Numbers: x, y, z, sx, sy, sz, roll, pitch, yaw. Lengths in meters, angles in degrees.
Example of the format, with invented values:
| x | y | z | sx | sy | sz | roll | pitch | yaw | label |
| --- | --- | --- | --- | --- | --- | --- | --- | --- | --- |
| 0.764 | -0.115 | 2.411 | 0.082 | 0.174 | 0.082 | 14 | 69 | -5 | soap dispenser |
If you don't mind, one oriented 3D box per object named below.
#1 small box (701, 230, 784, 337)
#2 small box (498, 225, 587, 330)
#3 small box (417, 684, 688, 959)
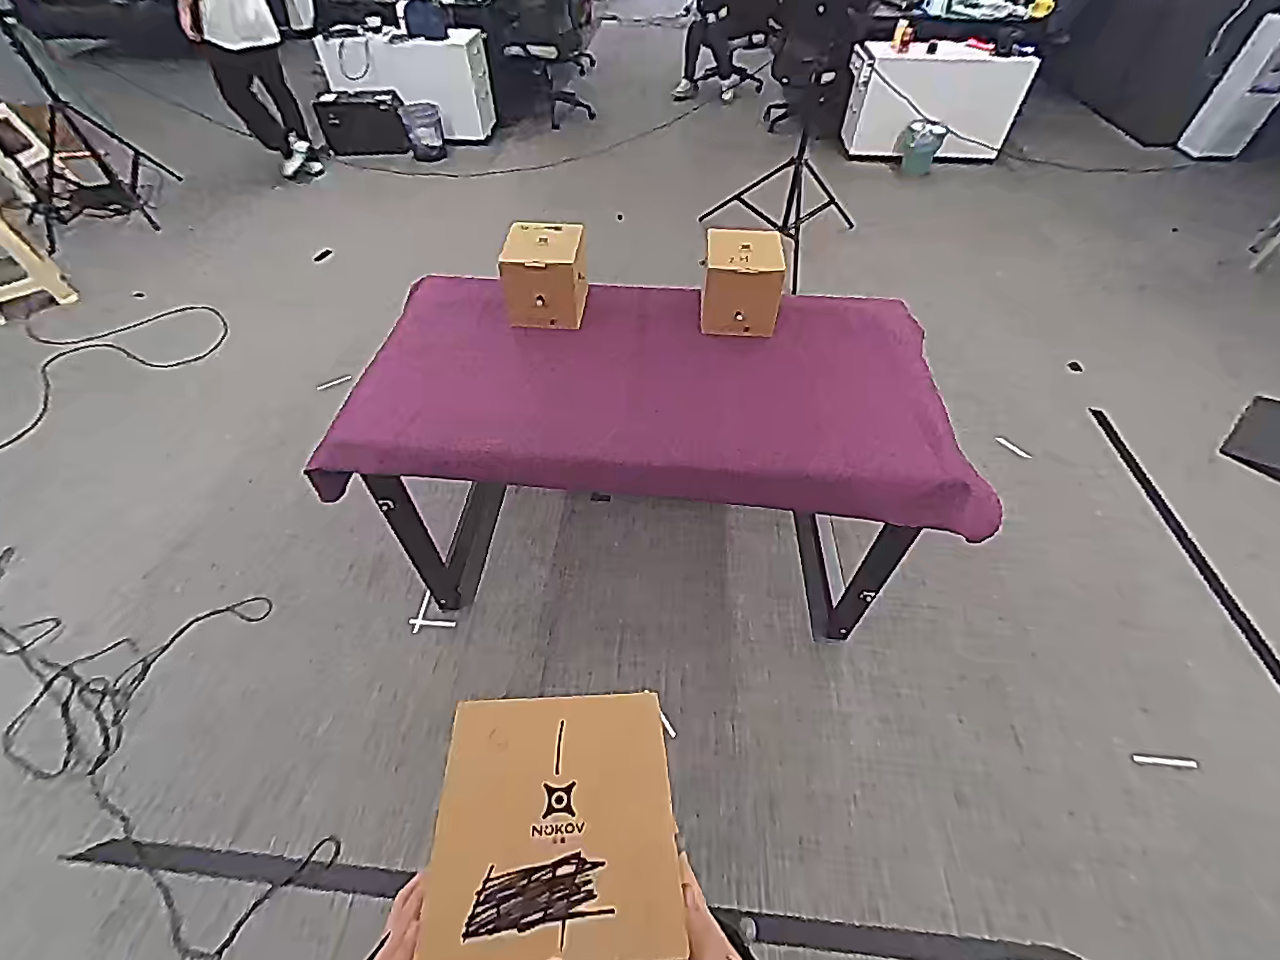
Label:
| x | y | z | sx | sy | sz | roll | pitch | yaw | label |
| --- | --- | --- | --- | --- | --- | --- | --- | --- | --- |
| 0.230 | -0.455 | 1.253 | 0.168 | 0.176 | 0.179 | 3 | 51 | 3 | small box |
| -0.219 | -0.469 | 1.263 | 0.168 | 0.176 | 0.179 | 3 | 52 | 2 | small box |
| -0.061 | 0.290 | 0.435 | 0.168 | 0.176 | 0.179 | 0 | 39 | -6 | small box |
